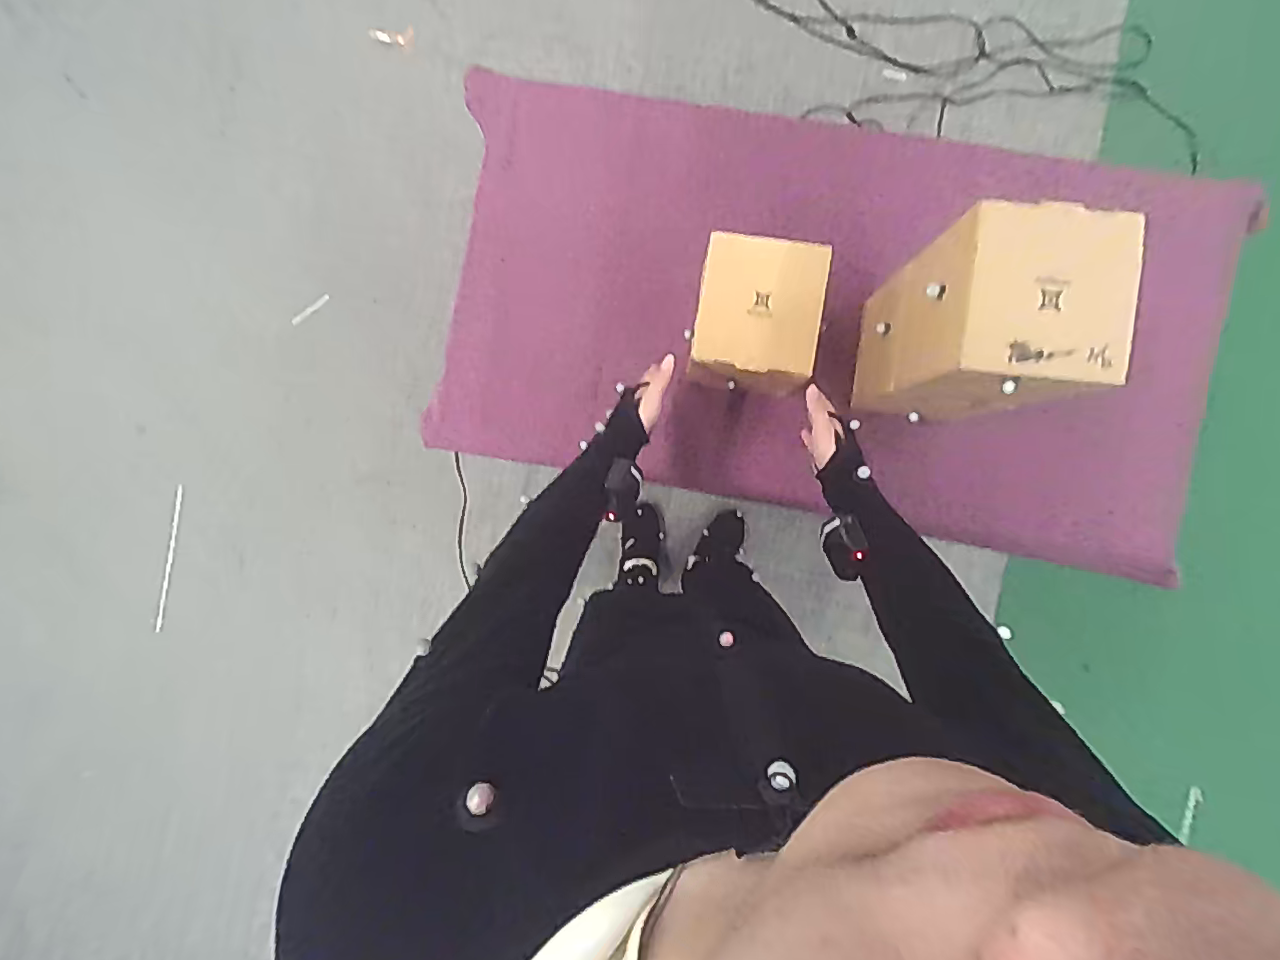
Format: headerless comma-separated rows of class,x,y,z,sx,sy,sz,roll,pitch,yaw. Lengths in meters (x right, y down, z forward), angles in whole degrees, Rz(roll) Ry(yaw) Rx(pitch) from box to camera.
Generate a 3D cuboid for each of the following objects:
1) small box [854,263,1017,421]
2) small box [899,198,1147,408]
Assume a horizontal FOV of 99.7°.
small box,0.427,-0.189,0.785,0.168,0.176,0.179,7,91,3
small box,0.419,-0.188,0.621,0.168,0.176,0.179,6,90,3
